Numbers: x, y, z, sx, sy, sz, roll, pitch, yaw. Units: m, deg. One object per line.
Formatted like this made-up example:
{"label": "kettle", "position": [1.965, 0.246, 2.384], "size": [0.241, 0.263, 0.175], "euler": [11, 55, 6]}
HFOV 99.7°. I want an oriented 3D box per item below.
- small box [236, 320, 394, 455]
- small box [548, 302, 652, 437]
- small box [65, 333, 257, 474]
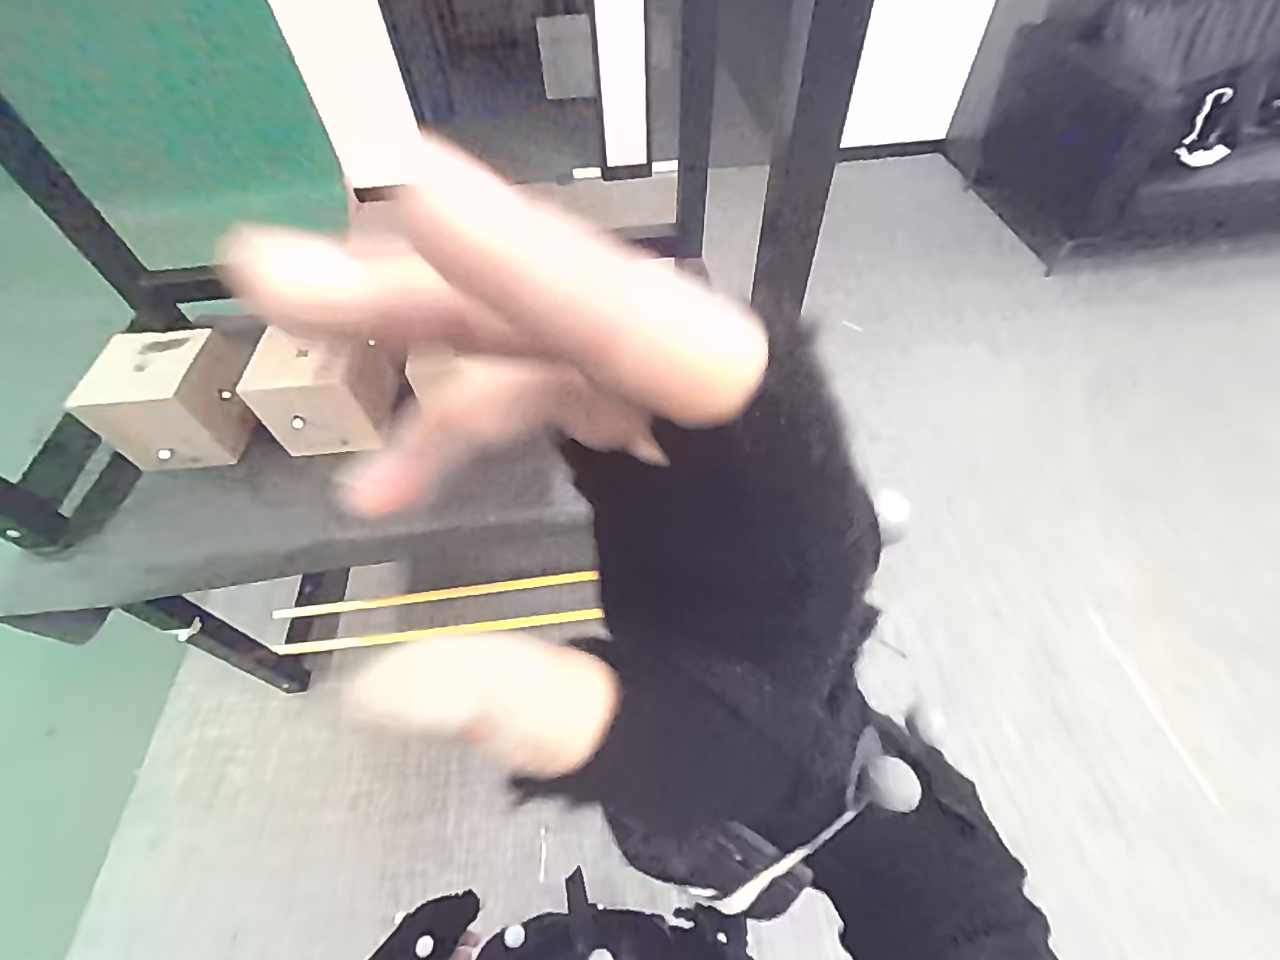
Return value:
{"label": "small box", "position": [-0.559, -0.158, 0.963], "size": [0.168, 0.176, 0.179], "euler": [-6, 53, -3]}
{"label": "small box", "position": [-0.070, -0.191, 0.969], "size": [0.168, 0.176, 0.179], "euler": [-6, 52, -3]}
{"label": "small box", "position": [-0.811, -0.133, 0.948], "size": [0.168, 0.176, 0.179], "euler": [-6, 53, -2]}
